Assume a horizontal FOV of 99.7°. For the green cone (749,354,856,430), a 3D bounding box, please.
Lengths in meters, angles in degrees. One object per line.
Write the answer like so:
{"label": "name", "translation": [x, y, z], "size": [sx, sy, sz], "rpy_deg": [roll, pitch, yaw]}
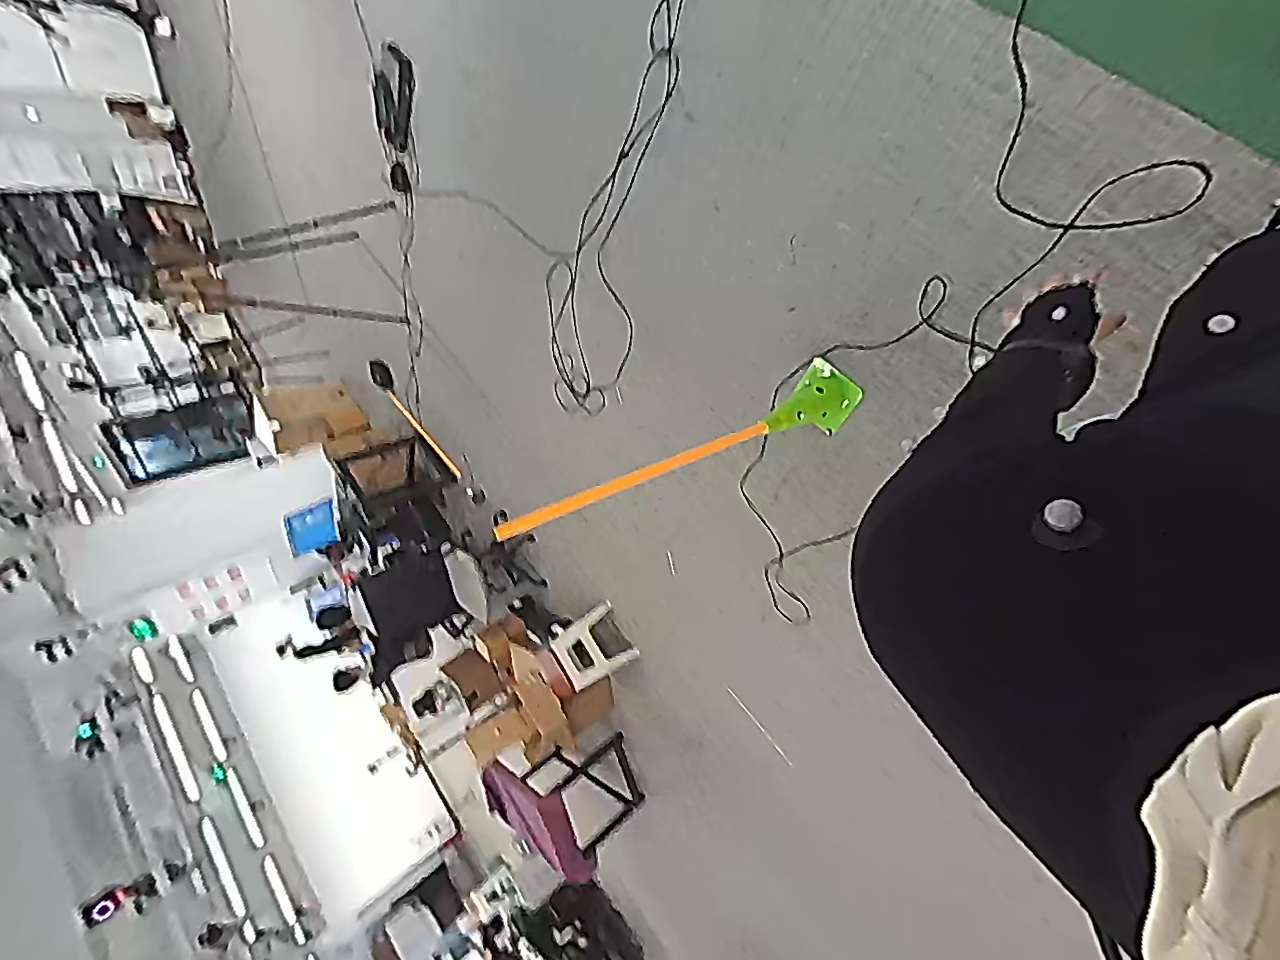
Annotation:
{"label": "green cone", "translation": [0.470, -0.232, 1.689], "size": [0.202, 0.368, 0.200], "rpy_deg": [48, 140, 22]}
